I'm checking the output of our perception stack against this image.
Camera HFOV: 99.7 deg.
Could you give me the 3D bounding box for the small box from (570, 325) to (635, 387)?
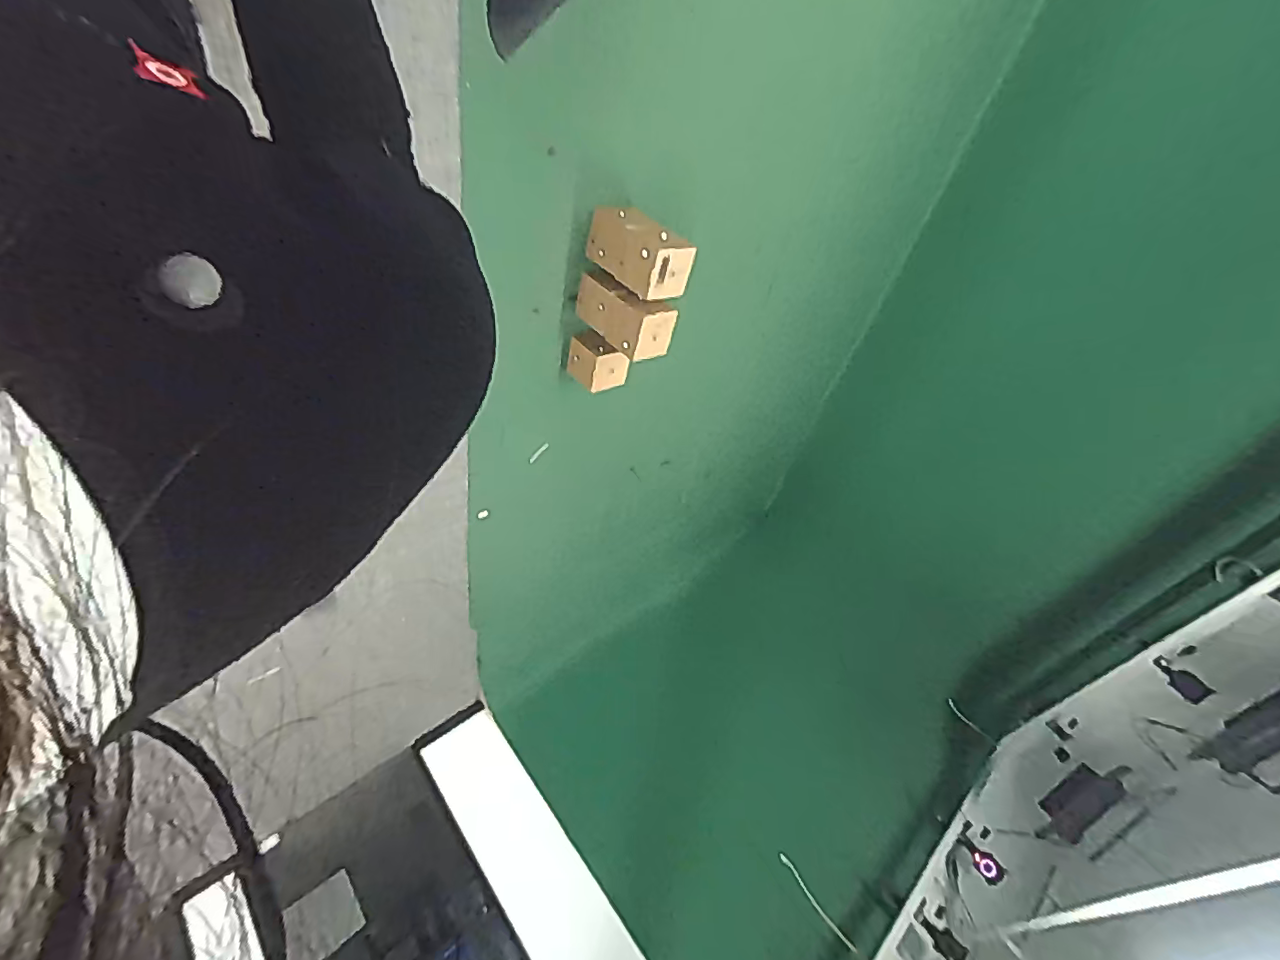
[{"bbox_3d":[-0.152,-0.499,2.147,0.179,0.176,0.168,-23,146,-35],"label":"small box"}]
